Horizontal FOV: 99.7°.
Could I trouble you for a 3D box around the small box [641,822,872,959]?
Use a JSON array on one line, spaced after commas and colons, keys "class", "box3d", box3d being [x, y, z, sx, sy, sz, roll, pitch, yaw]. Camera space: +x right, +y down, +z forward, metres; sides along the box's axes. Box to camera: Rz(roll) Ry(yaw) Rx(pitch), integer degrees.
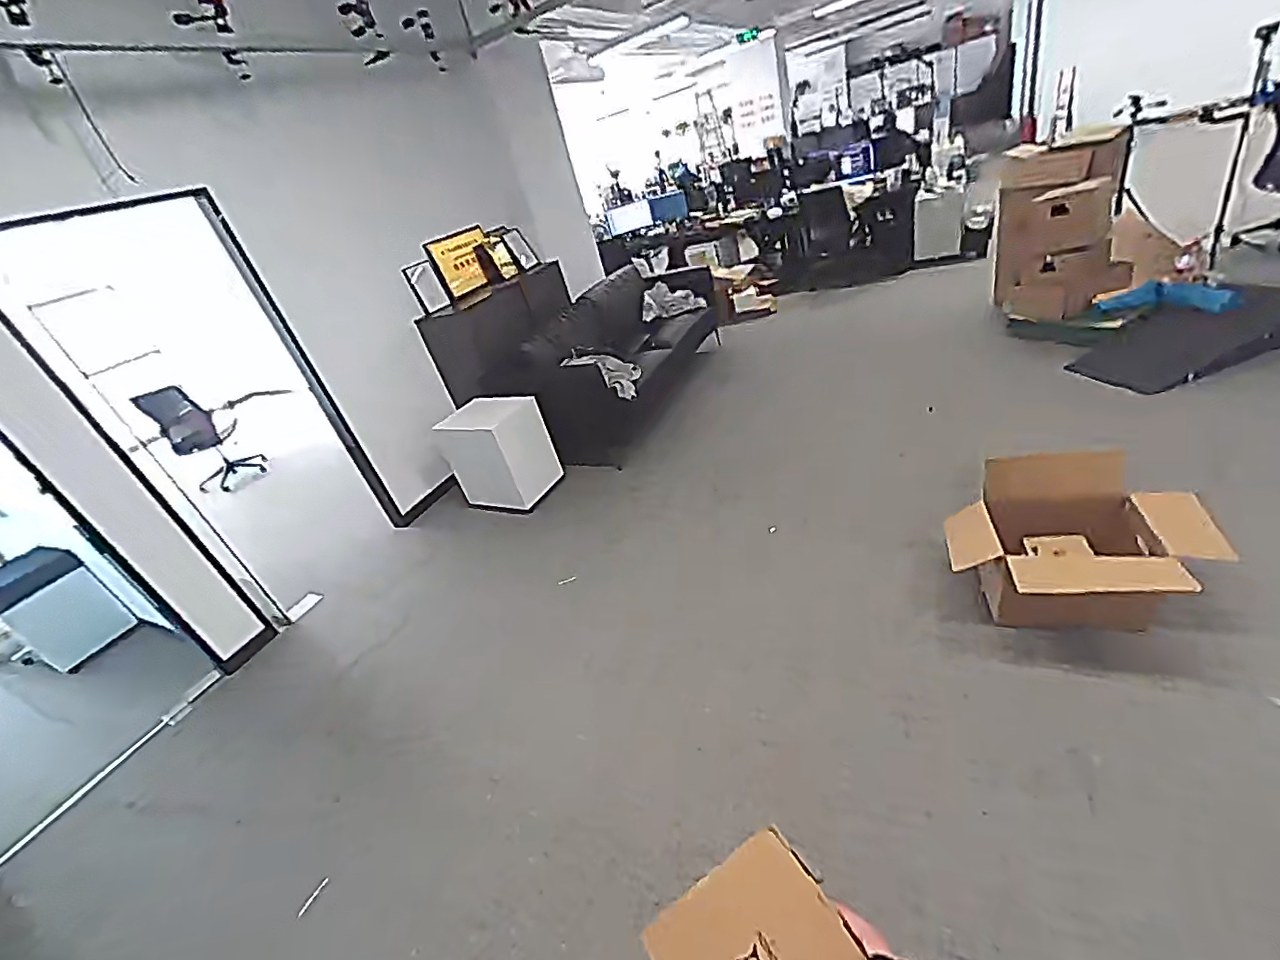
[{"class": "small box", "box3d": [0.131, 0.498, 0.542, 0.179, 0.176, 0.168, -32, 35, -10]}]
